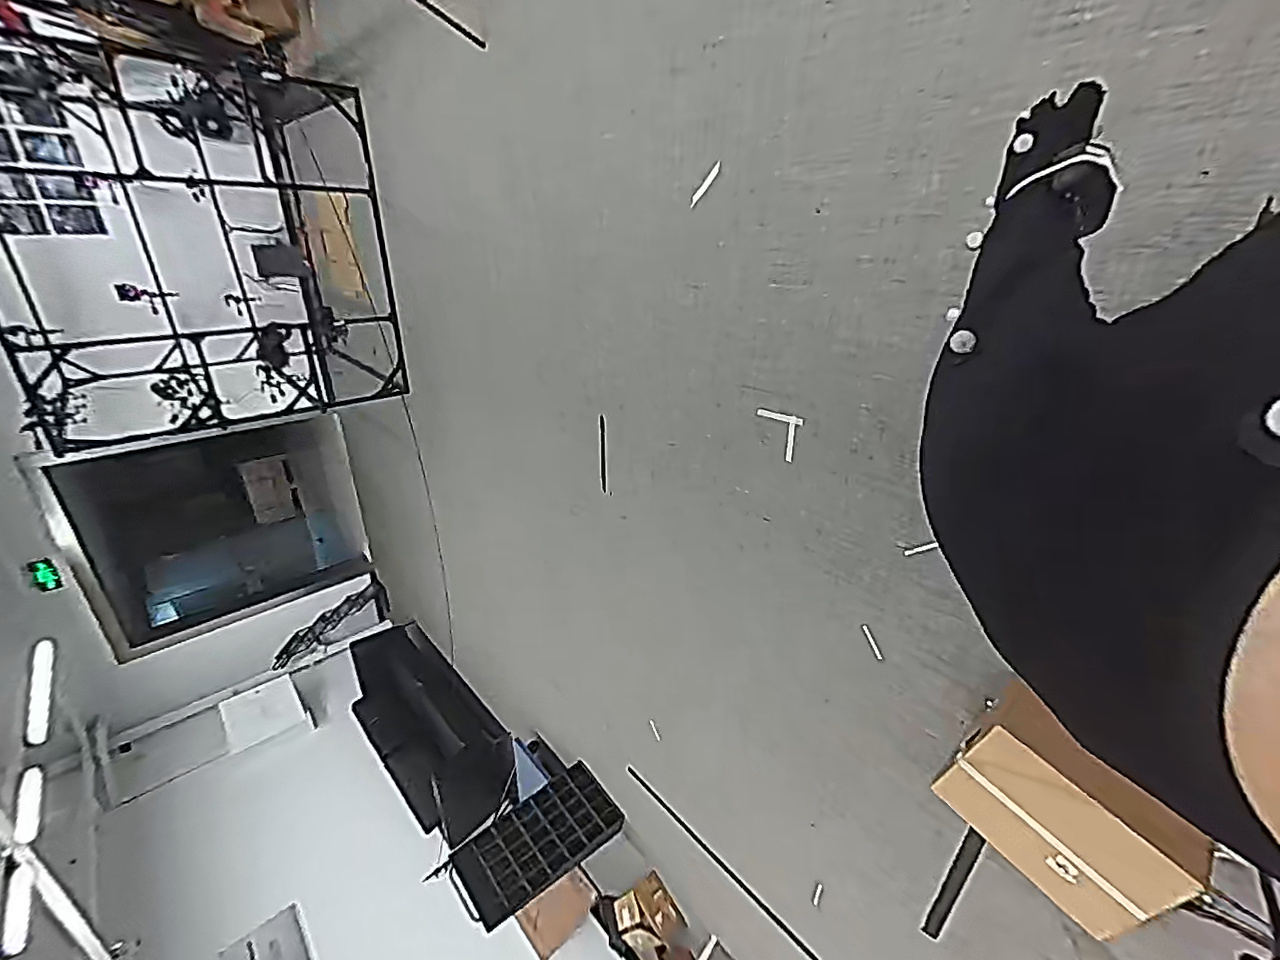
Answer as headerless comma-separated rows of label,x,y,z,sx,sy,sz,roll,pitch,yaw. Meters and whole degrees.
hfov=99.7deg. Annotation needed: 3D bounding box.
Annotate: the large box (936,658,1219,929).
large box,1.027,0.721,1.299,0.408,0.320,0.320,39,133,32
